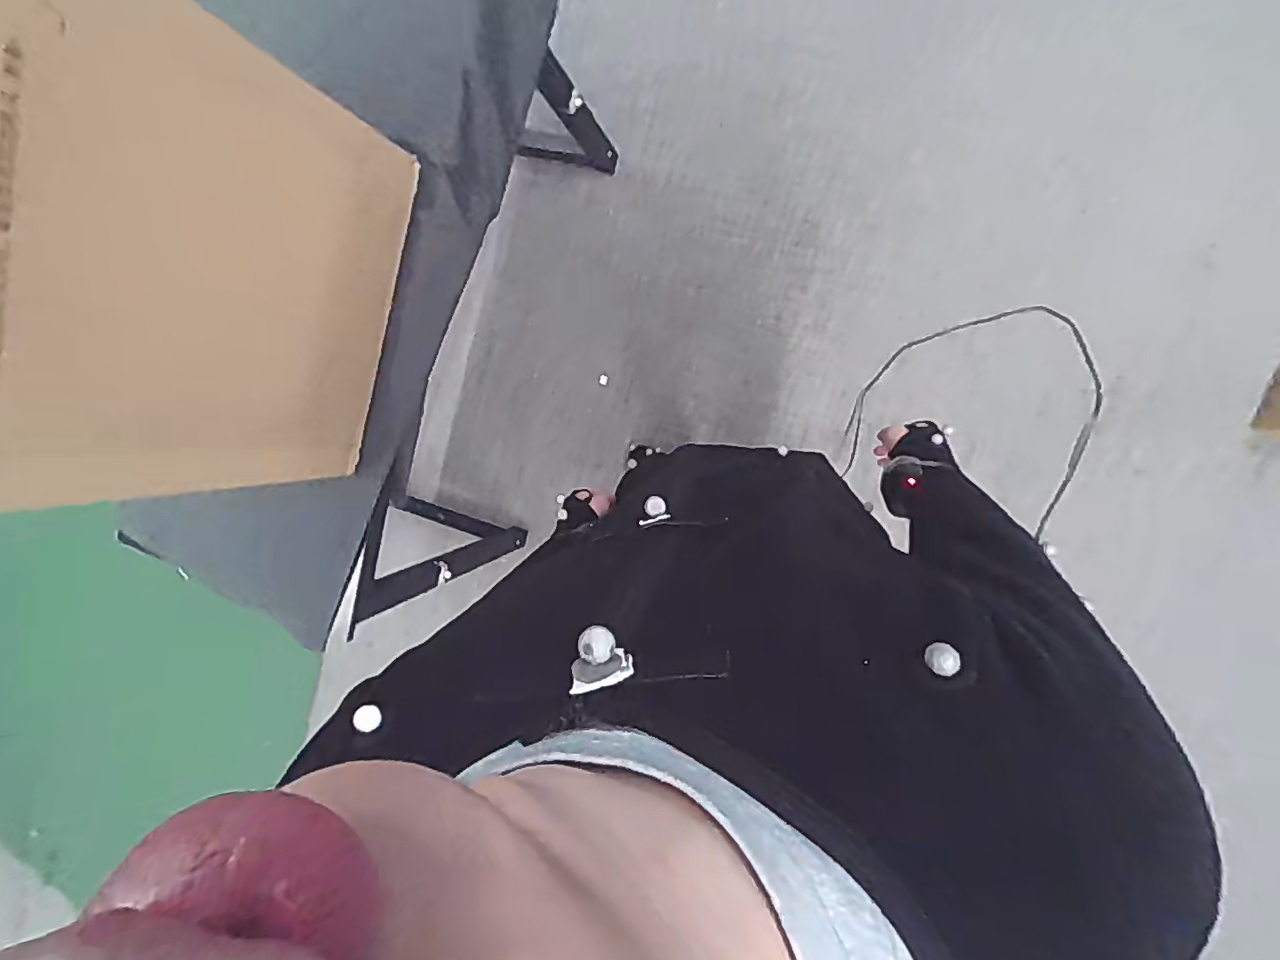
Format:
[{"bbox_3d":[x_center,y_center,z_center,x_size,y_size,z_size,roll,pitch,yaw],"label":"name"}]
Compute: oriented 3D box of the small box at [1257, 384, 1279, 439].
[{"bbox_3d":[1.437,-0.151,1.090,0.179,0.176,0.168,19,99,14],"label":"small box"}]
